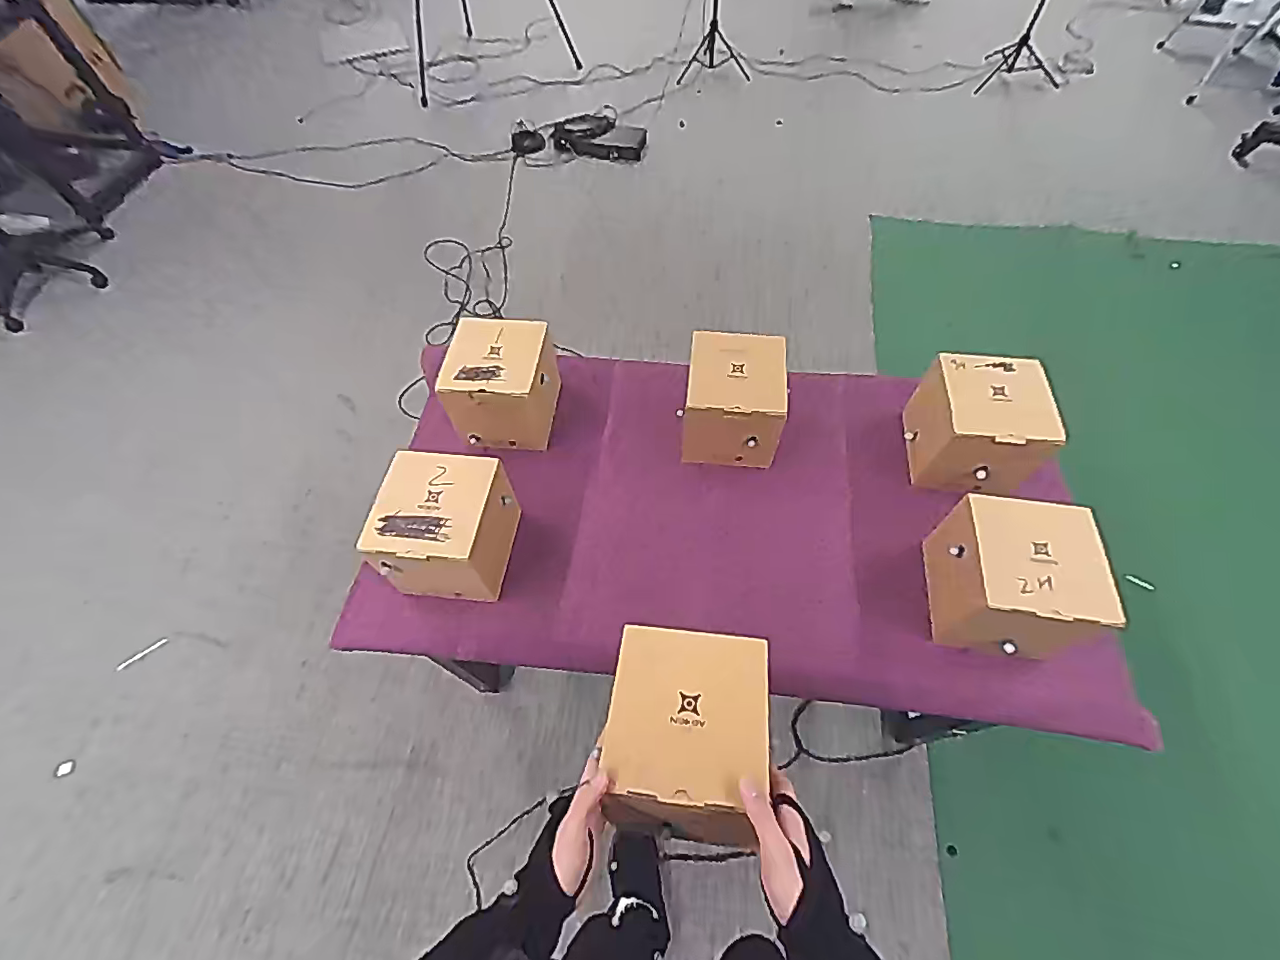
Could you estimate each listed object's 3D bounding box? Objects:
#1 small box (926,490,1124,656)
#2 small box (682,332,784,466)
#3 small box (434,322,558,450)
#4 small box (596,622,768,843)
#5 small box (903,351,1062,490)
[{"bbox_3d":[0.539,0.138,0.791,0.168,0.176,0.179,7,58,8],"label":"small box"},{"bbox_3d":[0.164,-0.142,0.983,0.168,0.176,0.179,5,59,5],"label":"small box"},{"bbox_3d":[-0.257,-0.172,1.015,0.168,0.176,0.179,4,59,4],"label":"small box"},{"bbox_3d":[0.053,0.289,0.621,0.168,0.176,0.179,4,48,8],"label":"small box"},{"bbox_3d":[0.576,-0.098,0.938,0.168,0.176,0.179,5,60,6],"label":"small box"}]
